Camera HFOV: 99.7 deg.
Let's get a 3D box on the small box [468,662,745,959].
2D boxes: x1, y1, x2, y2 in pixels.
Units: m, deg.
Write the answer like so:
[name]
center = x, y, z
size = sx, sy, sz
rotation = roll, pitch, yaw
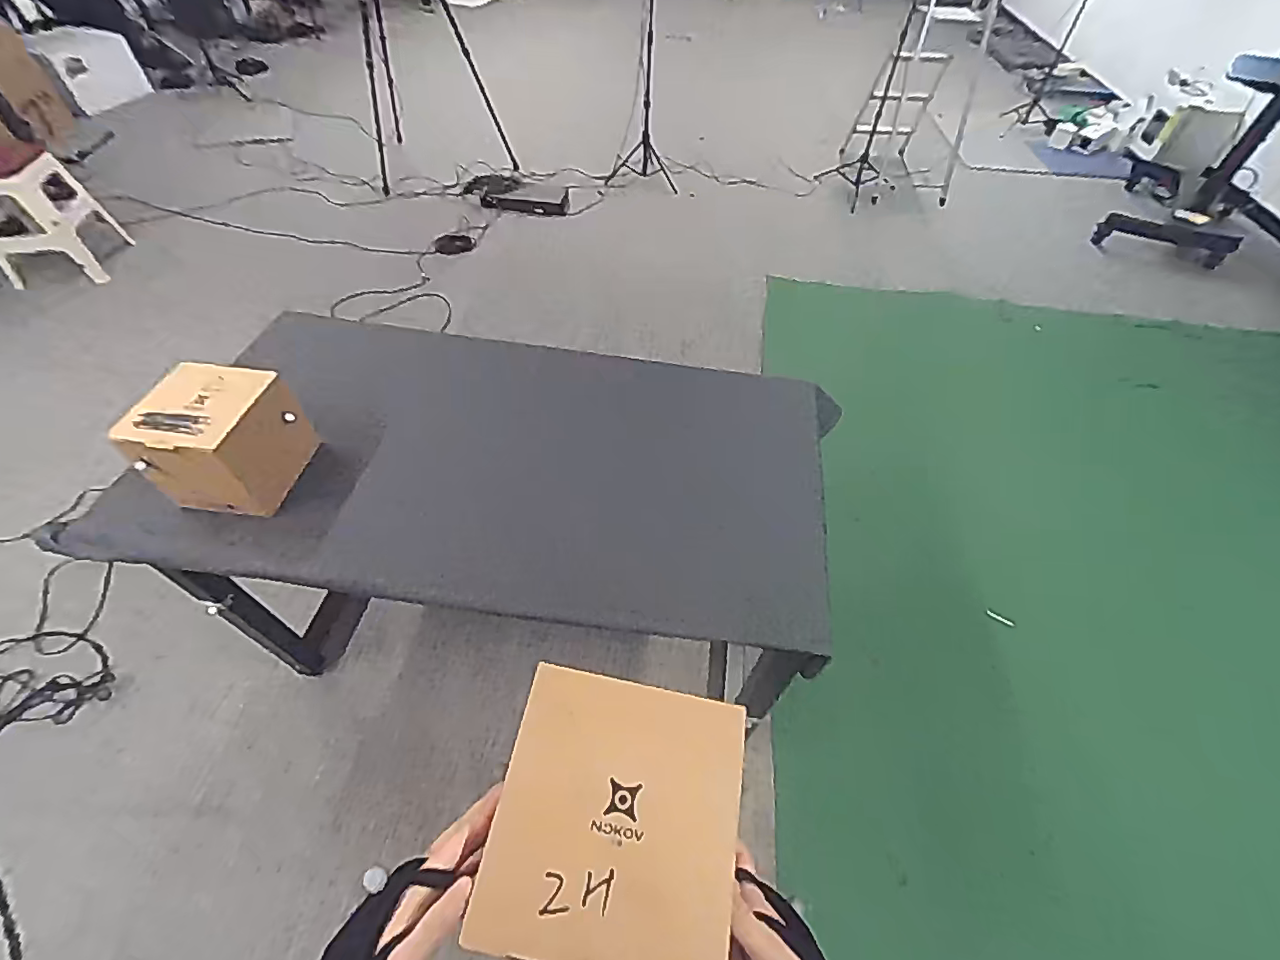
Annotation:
[small box]
center = -0.019, 0.274, 0.443
size = 0.168, 0.176, 0.179
rotation = 11, 56, 3
